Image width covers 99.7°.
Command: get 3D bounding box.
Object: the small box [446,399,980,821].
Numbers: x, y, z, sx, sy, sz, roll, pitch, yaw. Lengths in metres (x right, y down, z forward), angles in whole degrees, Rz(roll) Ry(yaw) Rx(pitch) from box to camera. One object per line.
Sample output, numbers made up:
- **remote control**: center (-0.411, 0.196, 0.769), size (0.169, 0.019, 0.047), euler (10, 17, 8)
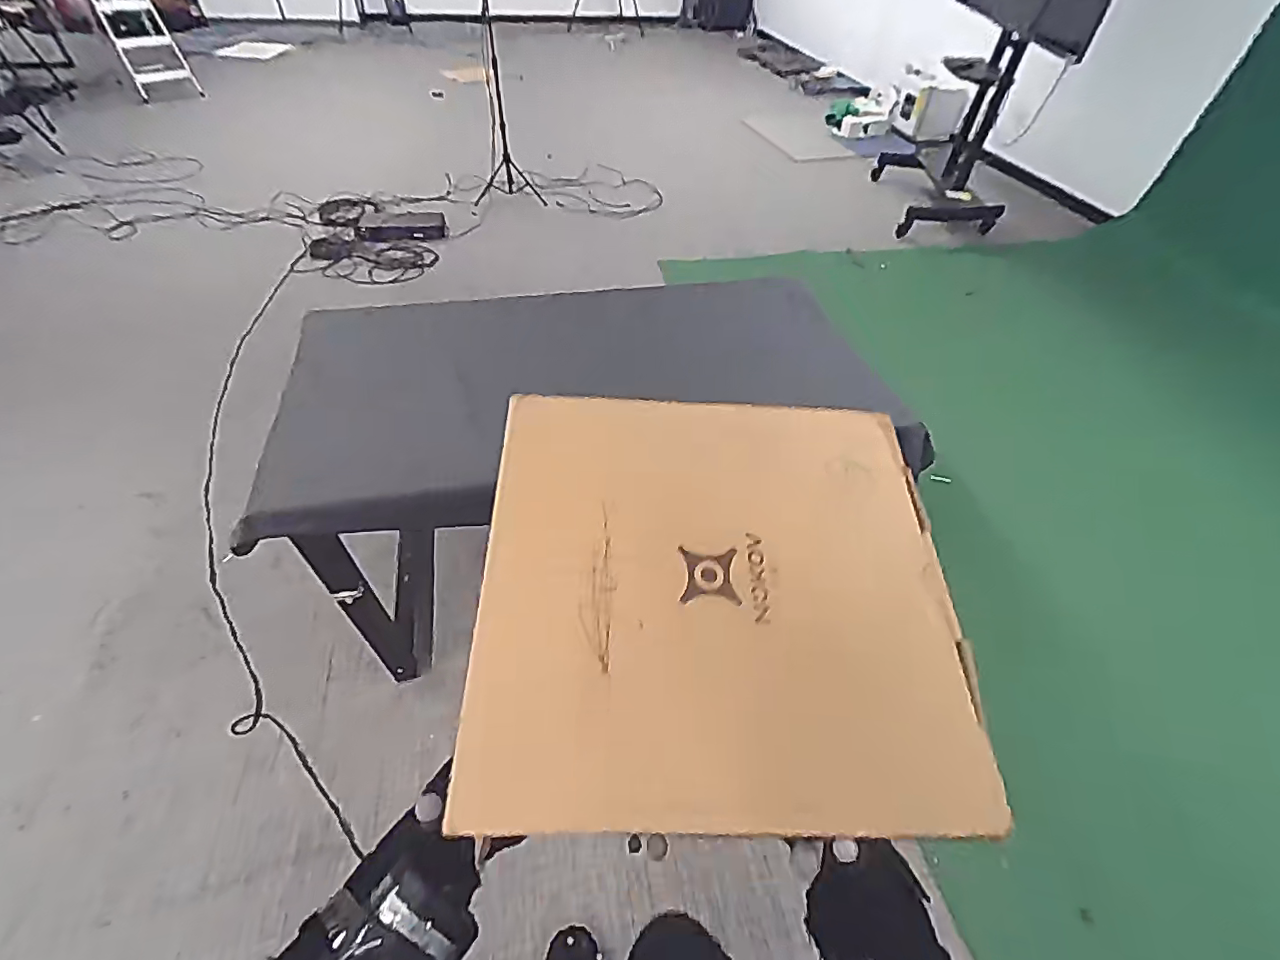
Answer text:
- **small box**: center (0.021, 0.077, 0.280), size (0.179, 0.176, 0.168), euler (1, 58, -3)
